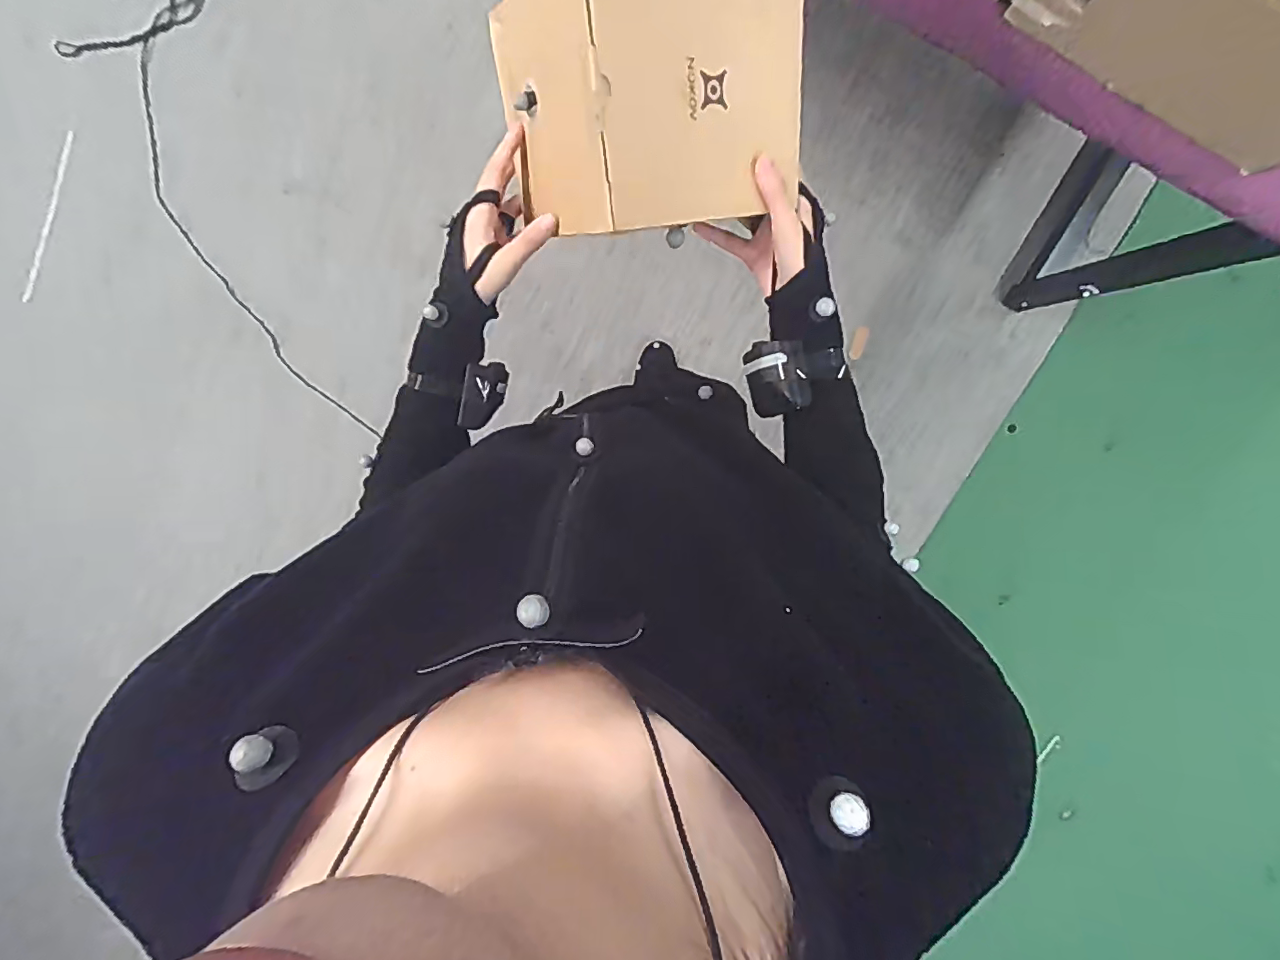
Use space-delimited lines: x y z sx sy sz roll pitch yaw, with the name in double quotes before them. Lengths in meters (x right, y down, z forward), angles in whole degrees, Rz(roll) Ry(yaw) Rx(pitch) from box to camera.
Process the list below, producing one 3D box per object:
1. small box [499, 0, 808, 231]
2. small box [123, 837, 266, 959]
"small box" 0.008 -0.297 0.433 0.179 0.176 0.168 -19 119 -25
"small box" -1.067 1.028 1.311 0.179 0.176 0.168 -43 96 9
